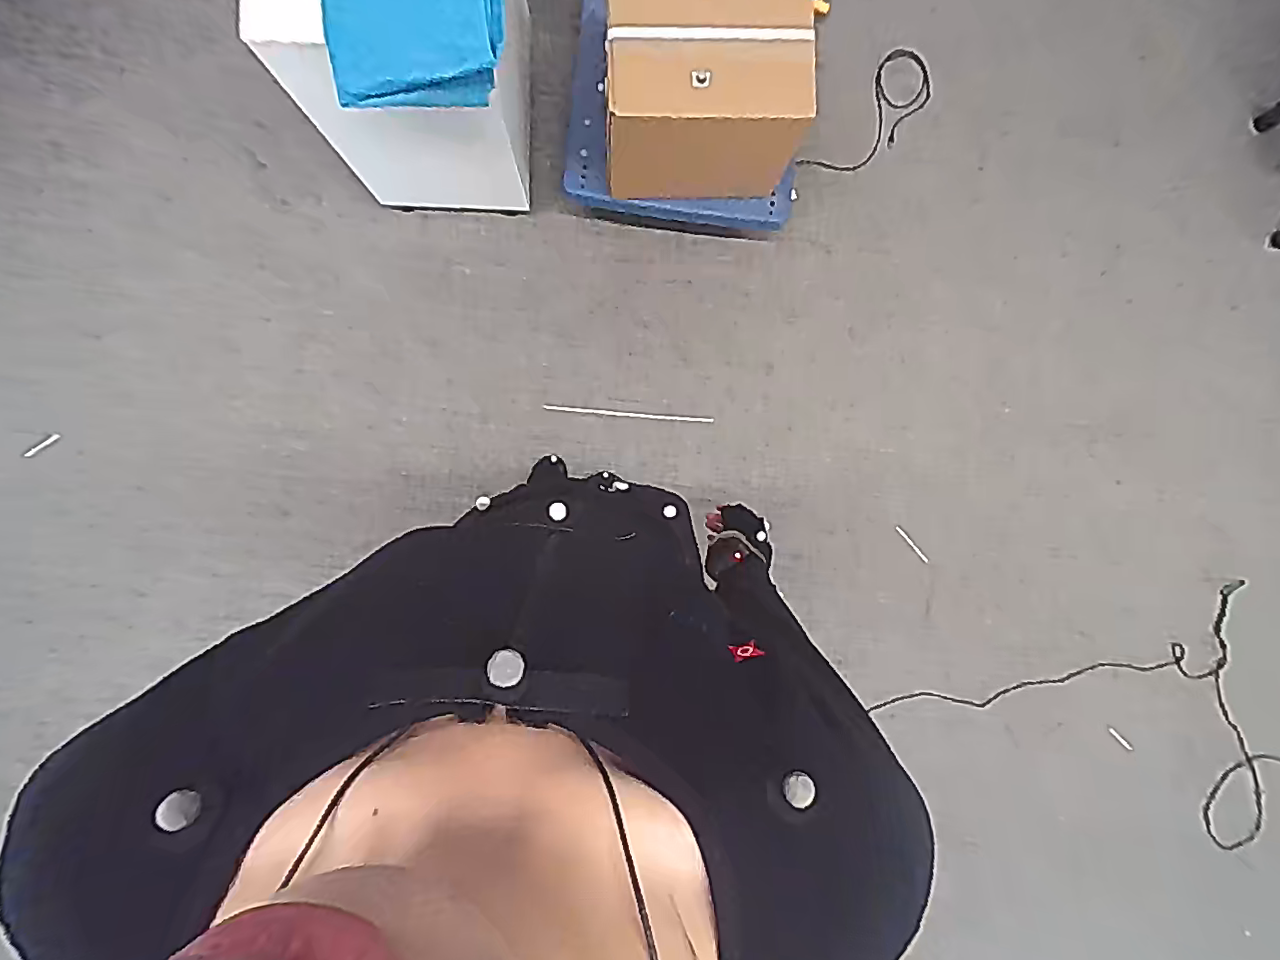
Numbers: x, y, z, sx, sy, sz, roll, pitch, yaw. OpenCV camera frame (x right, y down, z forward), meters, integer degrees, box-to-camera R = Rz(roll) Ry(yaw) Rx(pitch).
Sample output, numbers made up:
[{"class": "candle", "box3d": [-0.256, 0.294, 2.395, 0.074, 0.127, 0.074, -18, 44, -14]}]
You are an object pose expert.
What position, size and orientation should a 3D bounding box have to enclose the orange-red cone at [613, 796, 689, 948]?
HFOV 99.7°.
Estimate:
[{"class": "orange-red cone", "box3d": [0.039, 1.003, 1.355, 0.198, 0.360, 0.199, 9, 91, -3]}]
